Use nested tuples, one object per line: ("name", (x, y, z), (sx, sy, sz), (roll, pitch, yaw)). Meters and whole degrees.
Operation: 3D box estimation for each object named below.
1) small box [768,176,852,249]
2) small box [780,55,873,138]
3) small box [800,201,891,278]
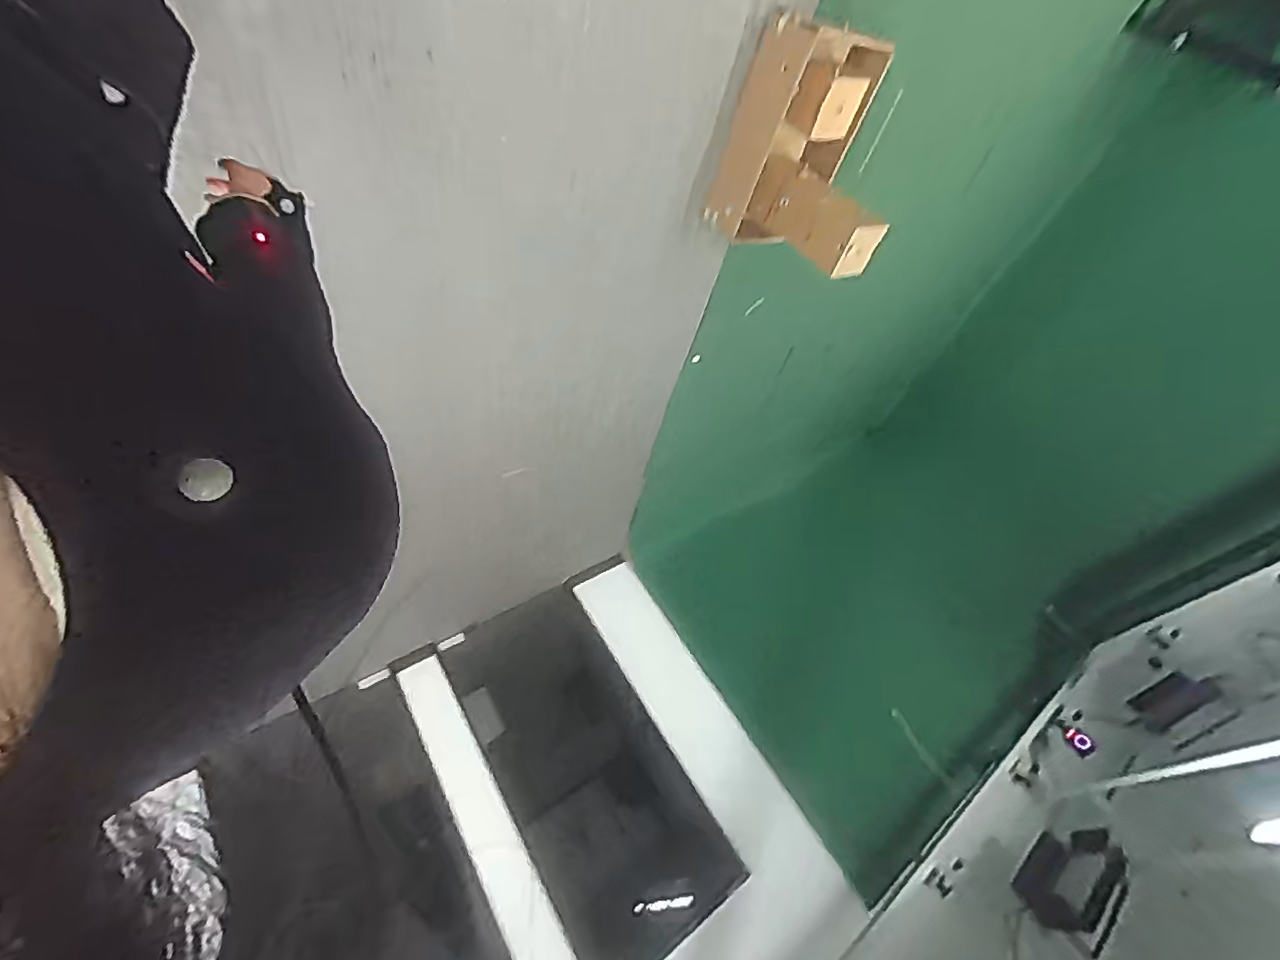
("small box", (0.568, -0.898, 1.813), (0.179, 0.176, 0.168), (-17, 147, -32))
("small box", (0.579, -1.201, 1.694), (0.179, 0.176, 0.168), (-21, 152, -27))
("small box", (0.655, -0.779, 1.740), (0.179, 0.176, 0.168), (-20, 149, -31))
